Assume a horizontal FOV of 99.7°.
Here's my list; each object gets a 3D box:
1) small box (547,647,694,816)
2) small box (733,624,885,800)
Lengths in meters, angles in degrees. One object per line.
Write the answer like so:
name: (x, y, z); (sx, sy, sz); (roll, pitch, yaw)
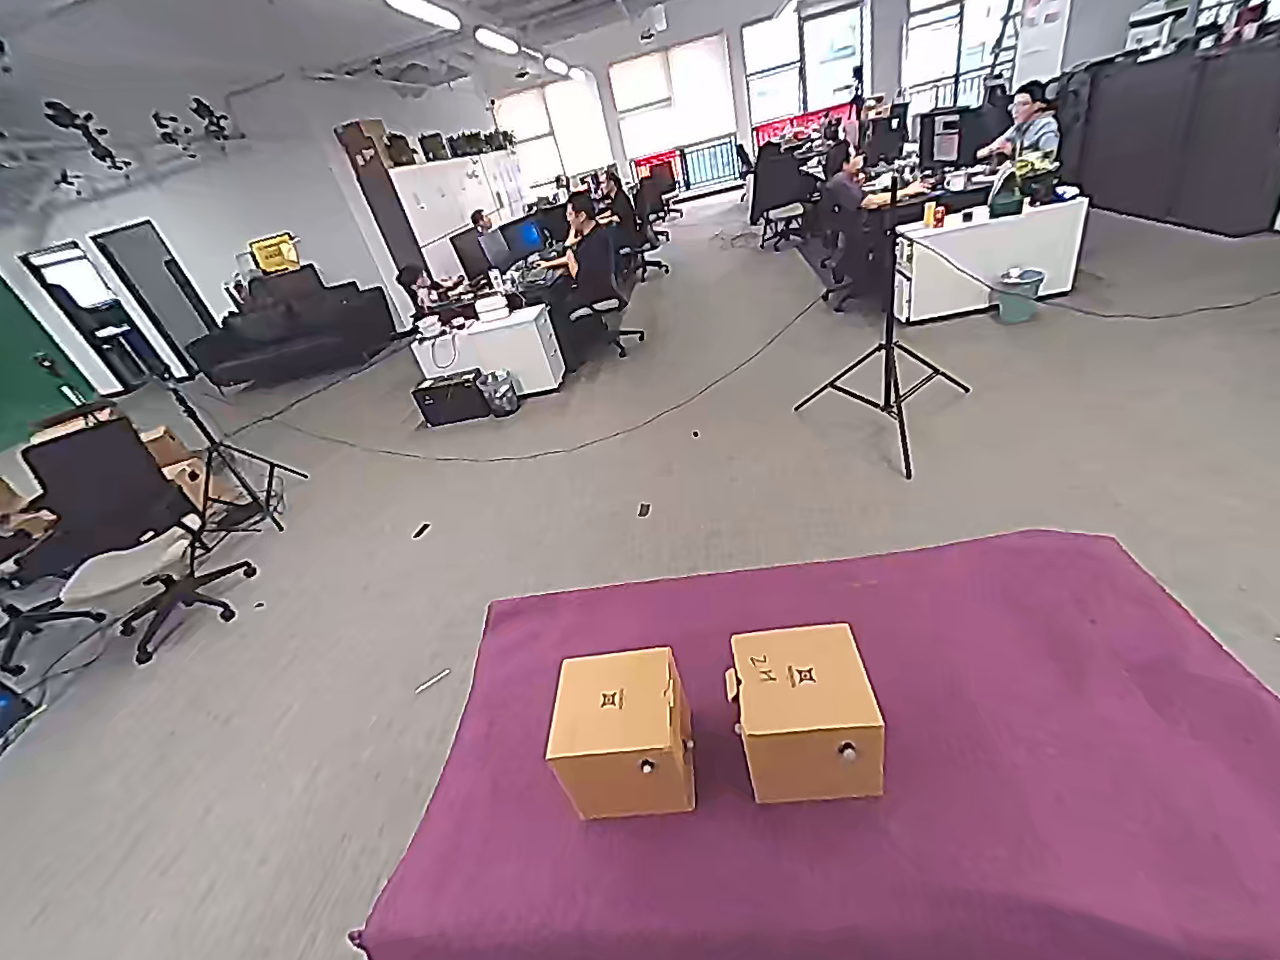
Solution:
small box: (-0.022, 0.384, 0.822); (0.179, 0.176, 0.168); (-10, 32, 8)
small box: (0.238, 0.336, 0.783); (0.179, 0.176, 0.168); (-10, 31, 9)
